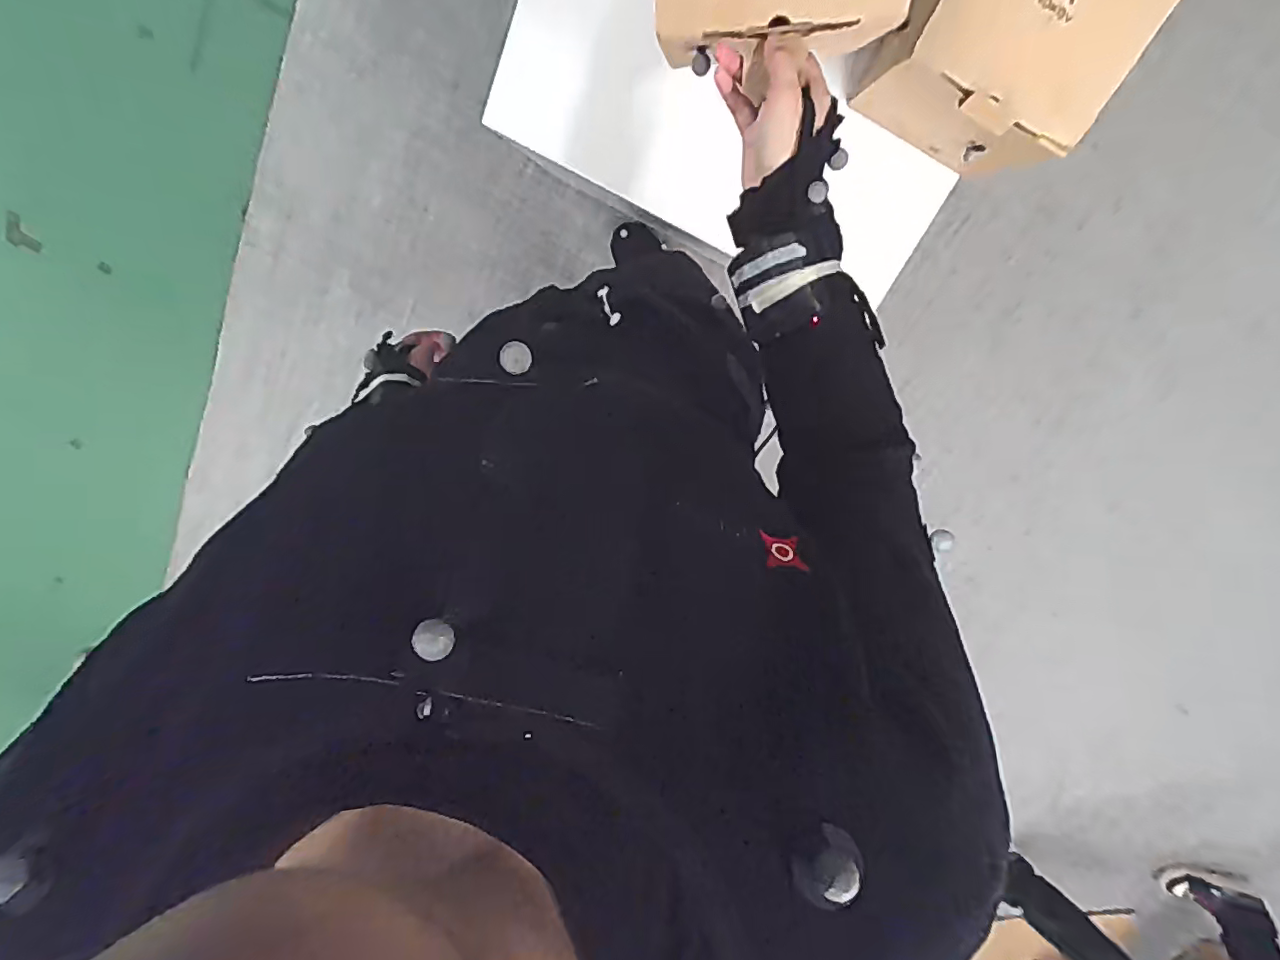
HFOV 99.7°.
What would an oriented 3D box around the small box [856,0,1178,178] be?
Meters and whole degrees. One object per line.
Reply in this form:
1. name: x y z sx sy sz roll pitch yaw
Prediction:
1. small box: 0.324 -0.402 0.489 0.168 0.176 0.179 23 111 -9
